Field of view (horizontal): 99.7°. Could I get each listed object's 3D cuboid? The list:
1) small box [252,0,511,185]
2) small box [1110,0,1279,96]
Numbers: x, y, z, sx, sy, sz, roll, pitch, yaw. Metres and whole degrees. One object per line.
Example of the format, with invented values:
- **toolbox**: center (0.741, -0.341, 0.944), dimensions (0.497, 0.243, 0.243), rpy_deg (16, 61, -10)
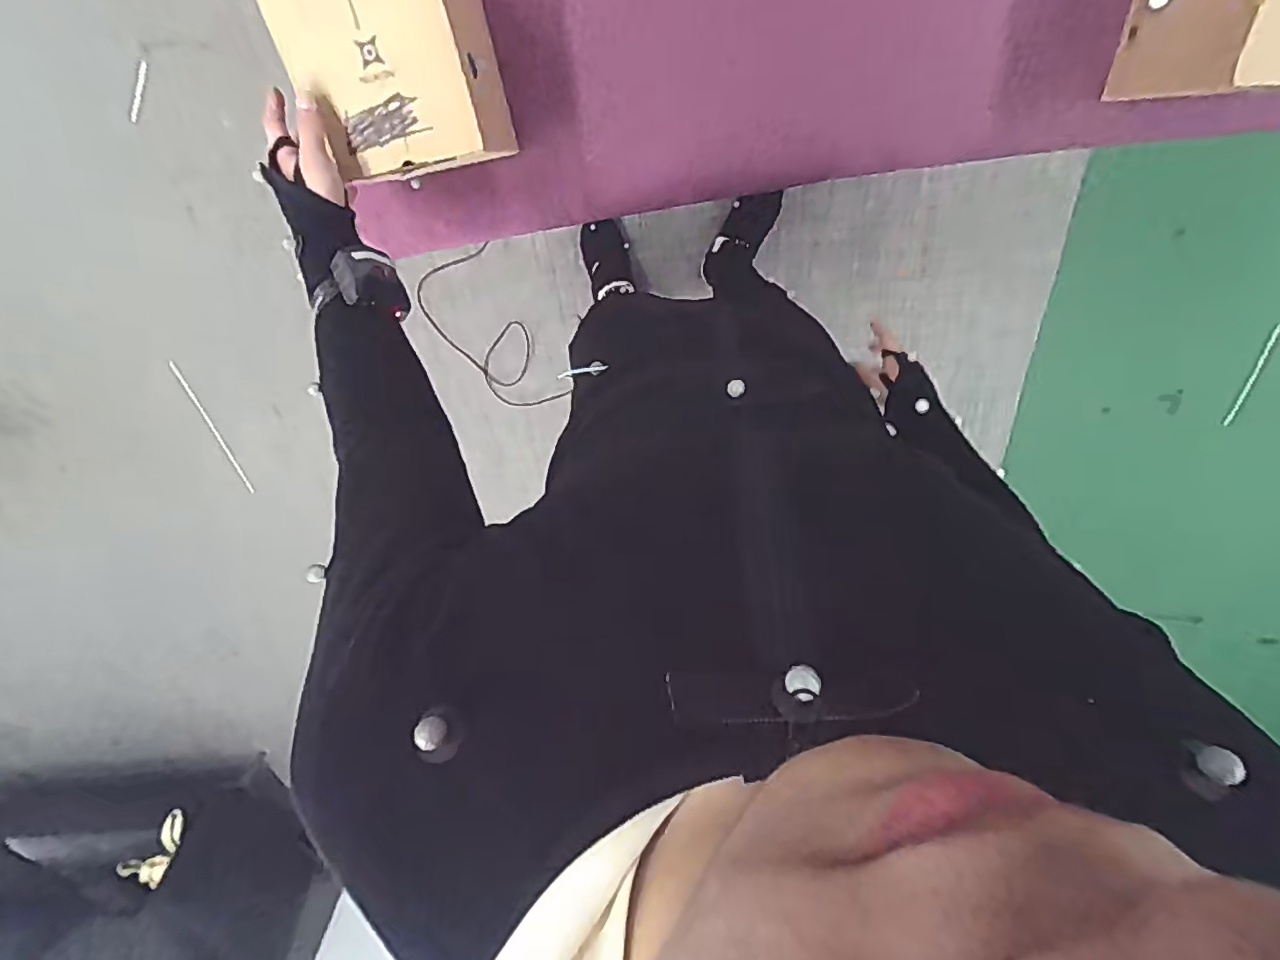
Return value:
- **small box**: center (-0.250, -0.427, 0.567), dimensions (0.168, 0.176, 0.179), rpy_deg (-8, 121, 6)
- **small box**: center (0.620, -0.474, 0.513), dimensions (0.179, 0.176, 0.168), rpy_deg (-1, 122, 3)
